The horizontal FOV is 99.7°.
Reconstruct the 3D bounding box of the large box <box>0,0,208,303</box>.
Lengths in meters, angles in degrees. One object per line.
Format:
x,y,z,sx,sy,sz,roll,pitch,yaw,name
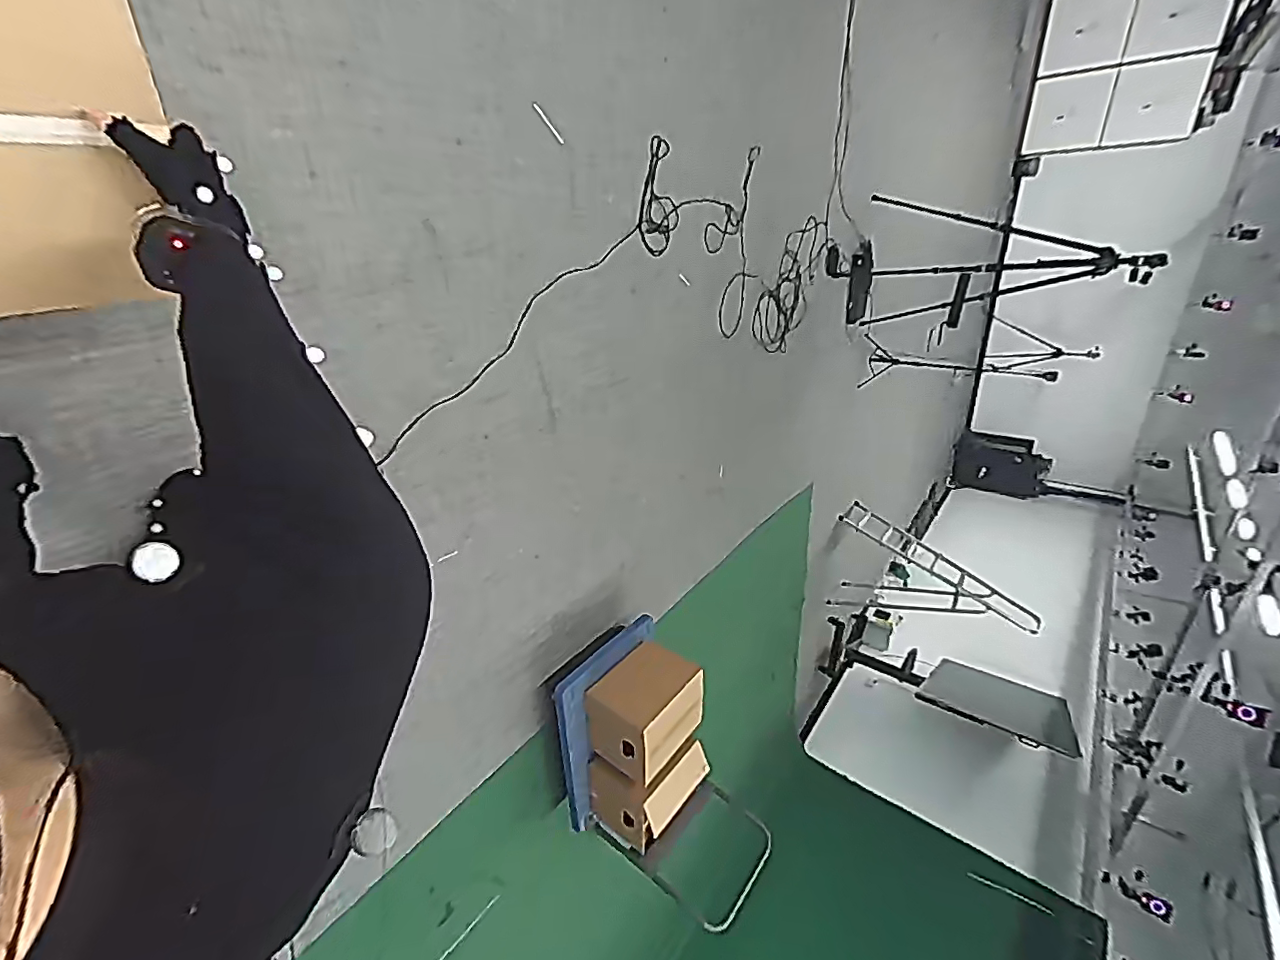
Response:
-0.721,-0.347,0.484,0.408,0.320,0.320,-30,136,-43,large box
